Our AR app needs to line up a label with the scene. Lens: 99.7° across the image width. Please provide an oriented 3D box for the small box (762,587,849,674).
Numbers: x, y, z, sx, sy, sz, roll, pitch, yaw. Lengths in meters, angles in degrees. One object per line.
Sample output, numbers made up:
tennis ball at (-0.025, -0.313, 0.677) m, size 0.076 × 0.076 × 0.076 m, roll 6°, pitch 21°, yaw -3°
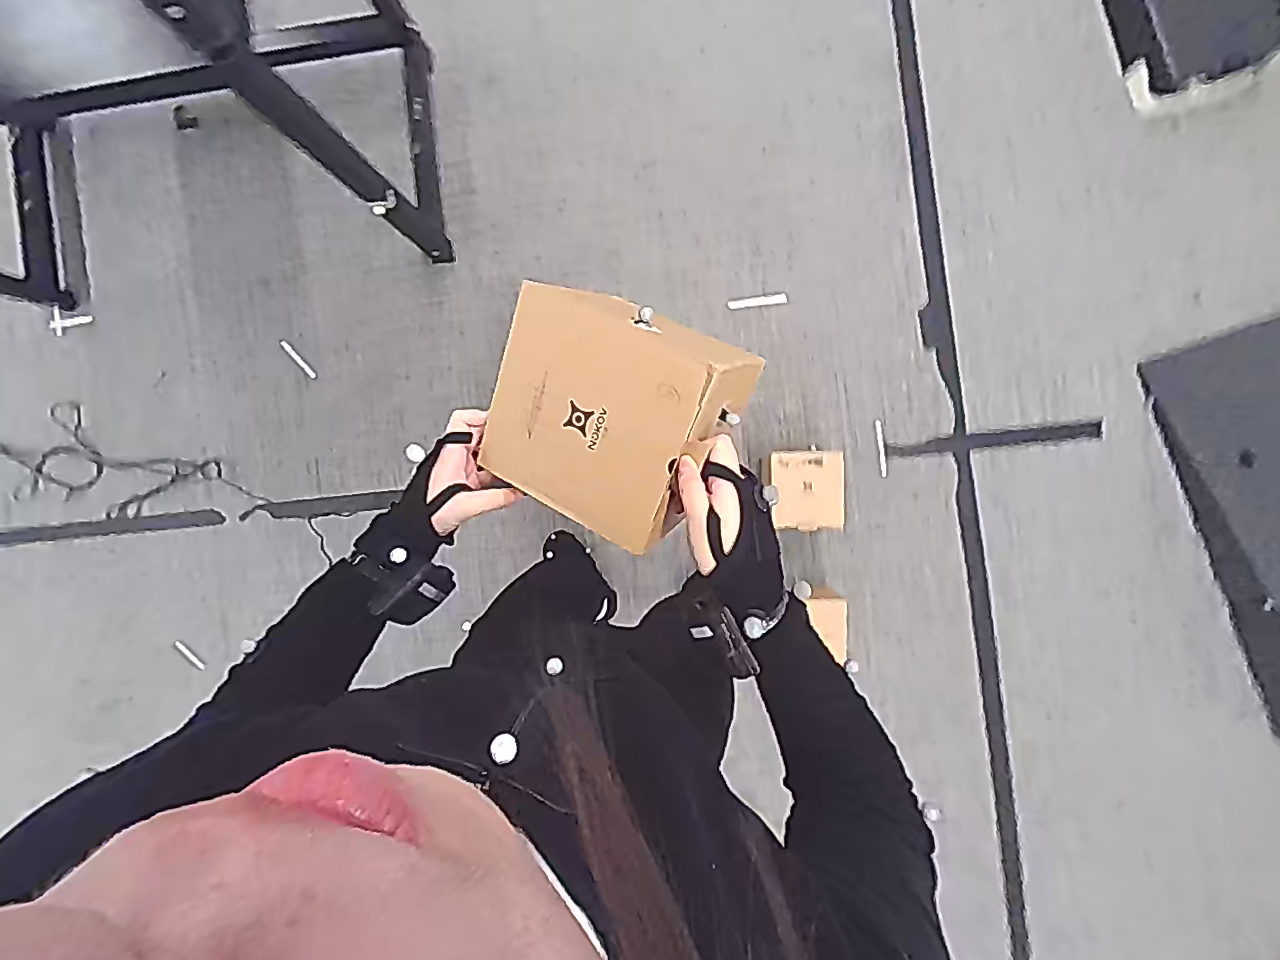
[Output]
small box at (0.396, 0.362, 1.321) m, size 0.179 × 0.176 × 0.168 m, roll 0°, pitch 91°, yaw 4°

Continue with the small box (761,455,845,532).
small box at (0.391, 0.029, 1.315) m, size 0.168 × 0.176 × 0.179 m, roll 0°, pitch 92°, yaw 4°
